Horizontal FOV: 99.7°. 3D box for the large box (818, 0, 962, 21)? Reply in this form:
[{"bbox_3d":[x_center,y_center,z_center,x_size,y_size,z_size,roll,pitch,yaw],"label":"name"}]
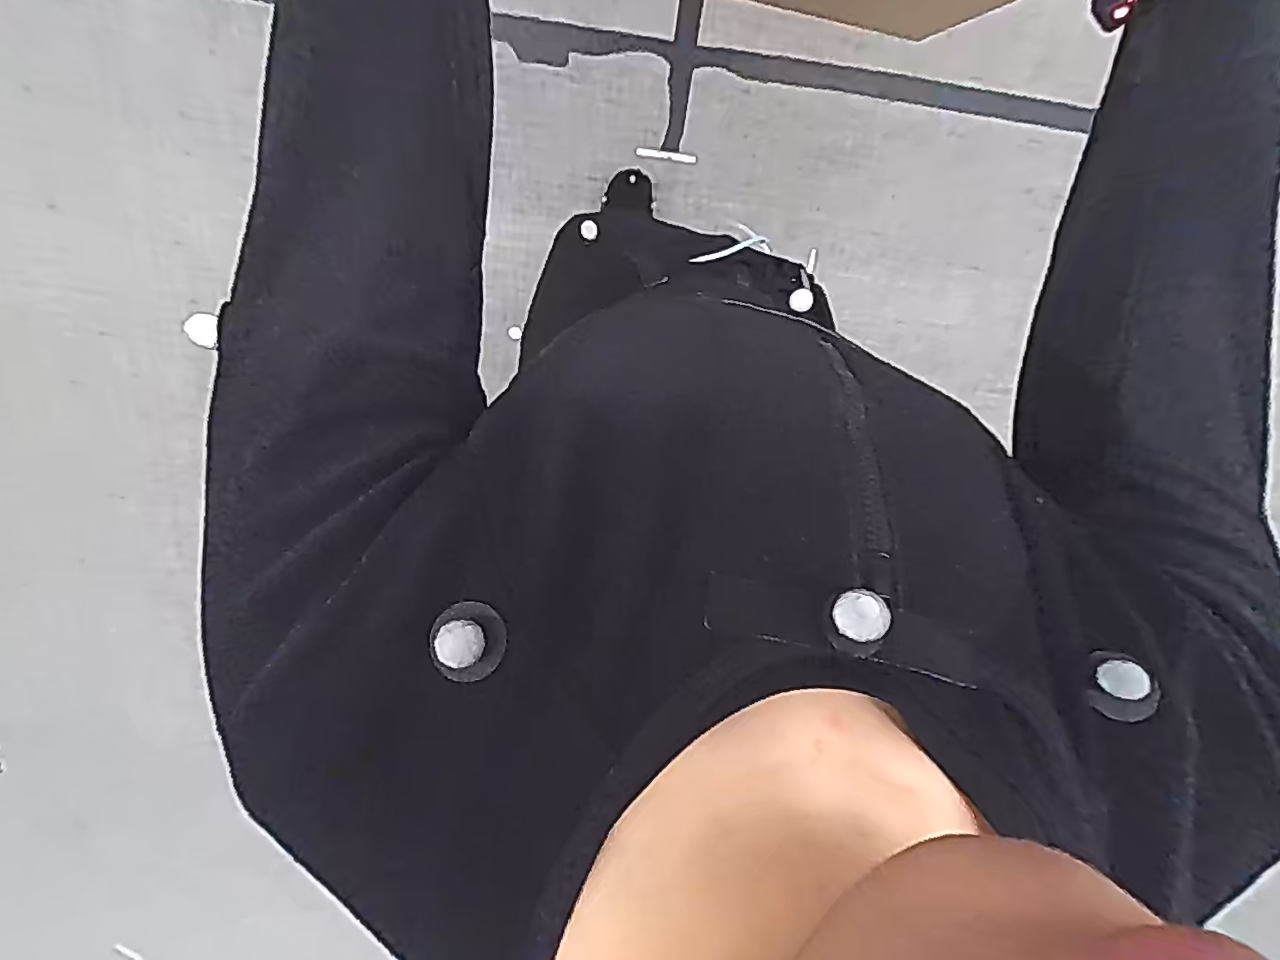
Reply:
[{"bbox_3d":[0.138,-0.579,0.374,0.408,0.320,0.320,10,120,-5],"label":"large box"}]
